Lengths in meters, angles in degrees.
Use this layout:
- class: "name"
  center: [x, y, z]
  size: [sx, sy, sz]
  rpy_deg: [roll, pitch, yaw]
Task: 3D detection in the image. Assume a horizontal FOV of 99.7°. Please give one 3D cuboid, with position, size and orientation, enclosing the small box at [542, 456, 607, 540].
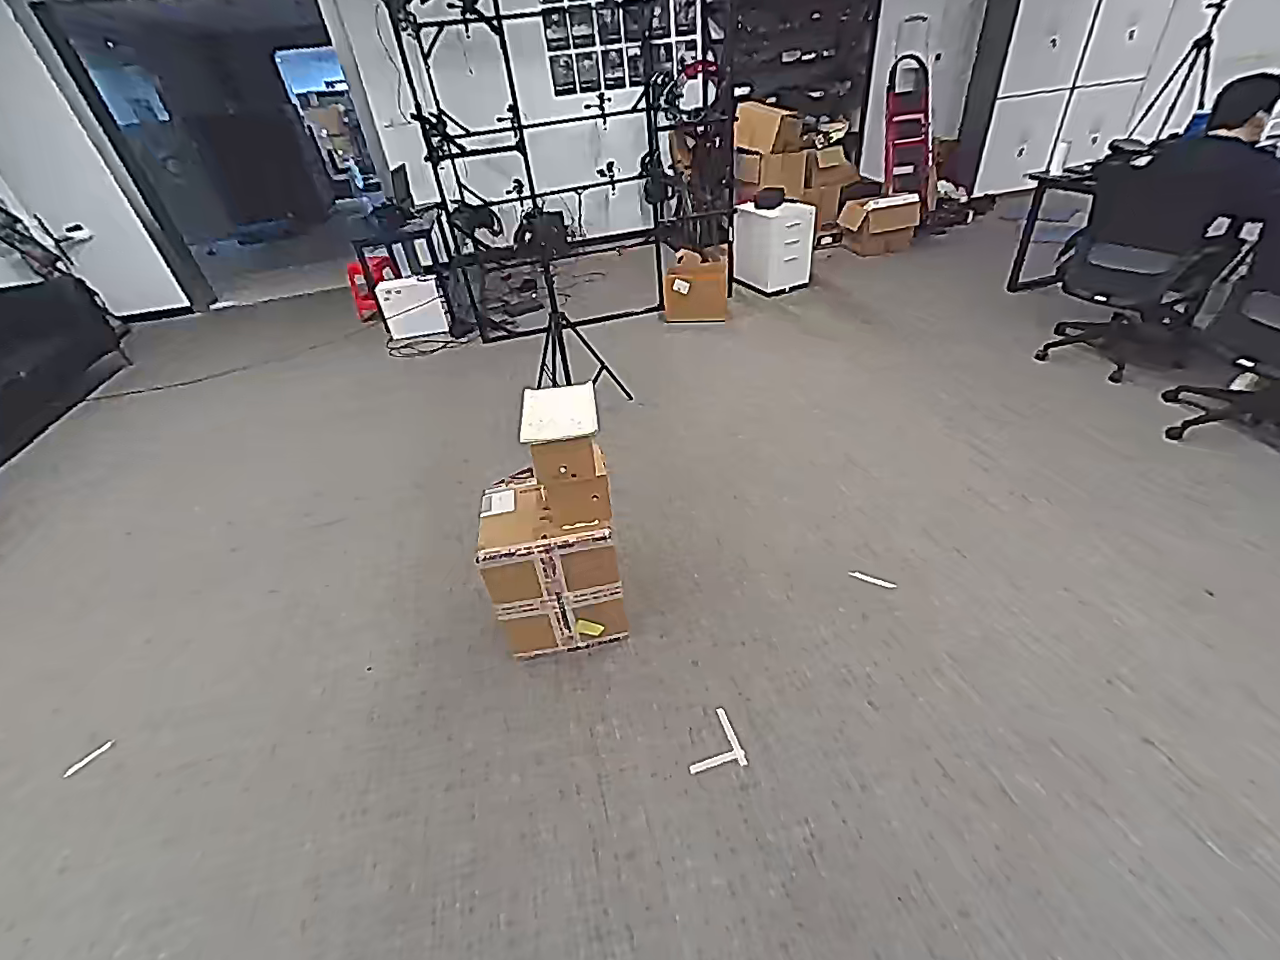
- class: "small box"
  center: [-0.194, 0.053, 1.597]
  size: [0.179, 0.176, 0.168]
  rpy_deg: [-10, 38, -7]

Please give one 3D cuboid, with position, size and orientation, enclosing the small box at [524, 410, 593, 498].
- class: "small box"
  center: [-0.222, -0.072, 1.493]
  size: [0.168, 0.176, 0.179]
  rpy_deg: [-7, 39, -4]
